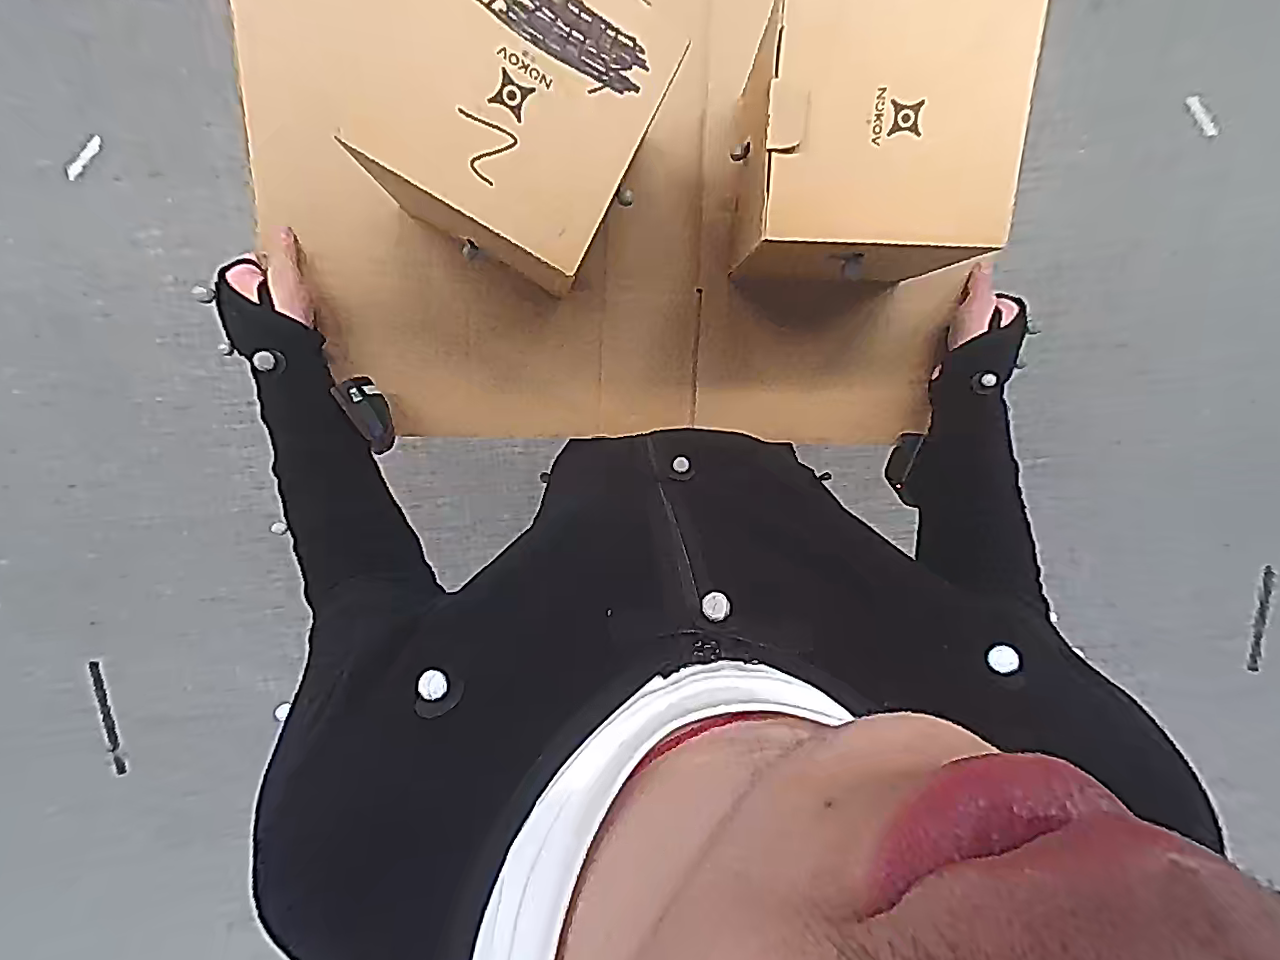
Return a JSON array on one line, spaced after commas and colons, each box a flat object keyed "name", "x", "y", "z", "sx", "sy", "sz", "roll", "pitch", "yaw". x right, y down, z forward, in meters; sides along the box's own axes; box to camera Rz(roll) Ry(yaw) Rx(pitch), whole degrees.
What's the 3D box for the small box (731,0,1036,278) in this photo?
[{"name": "small box", "x": 0.182, "y": -0.273, "z": 0.463, "sx": 0.179, "sy": 0.176, "sz": 0.168, "roll": 2, "pitch": 102, "yaw": 1}]
